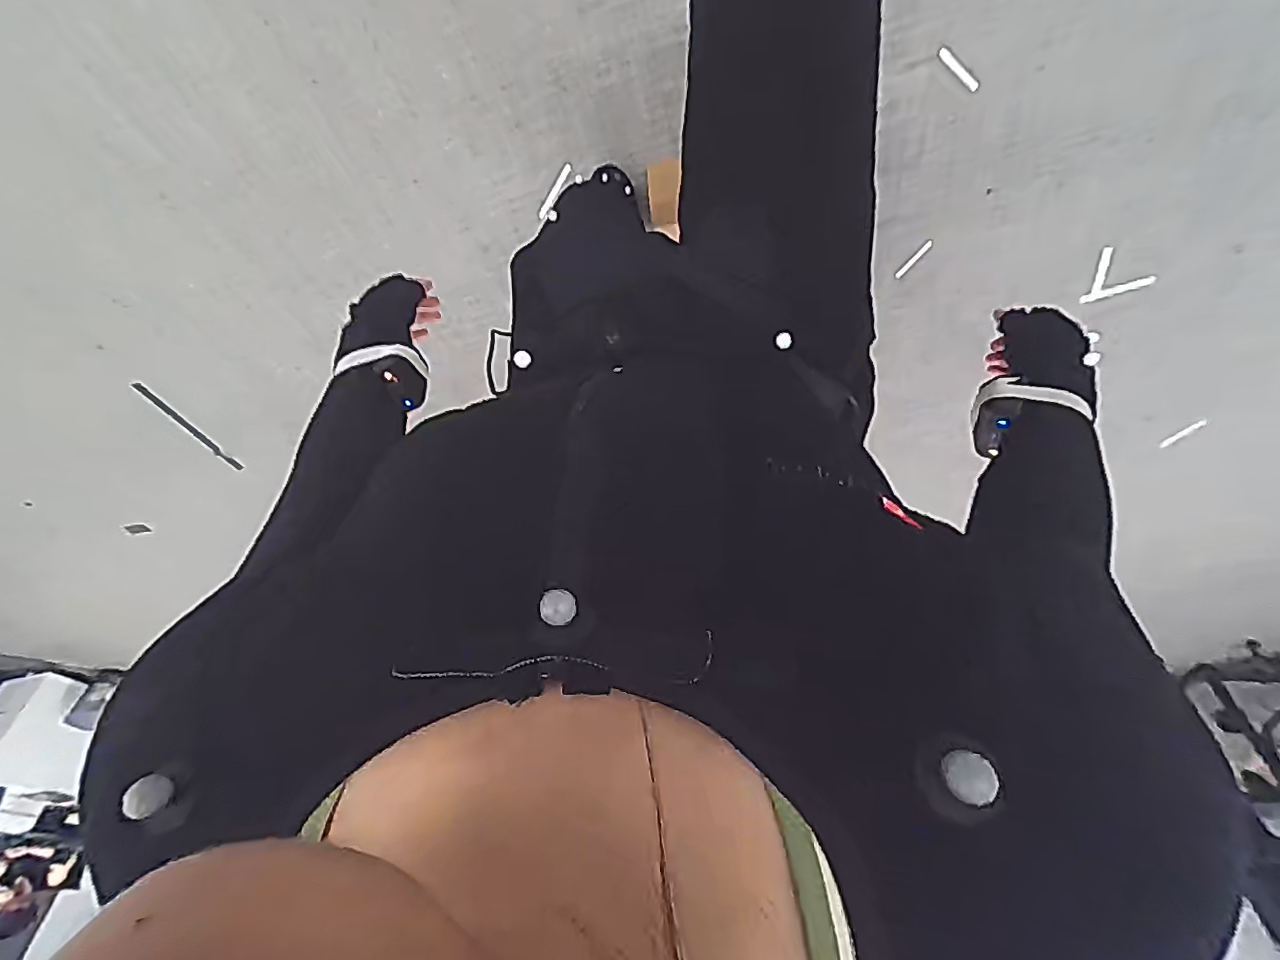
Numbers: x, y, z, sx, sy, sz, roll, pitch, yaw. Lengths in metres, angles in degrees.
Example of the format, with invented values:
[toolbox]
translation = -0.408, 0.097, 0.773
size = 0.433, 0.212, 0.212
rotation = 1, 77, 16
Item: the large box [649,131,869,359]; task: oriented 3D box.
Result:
[large box]
translation = 0.245, -0.516, 1.202
size = 0.408, 0.320, 0.320
rotation = -8, 138, 7
